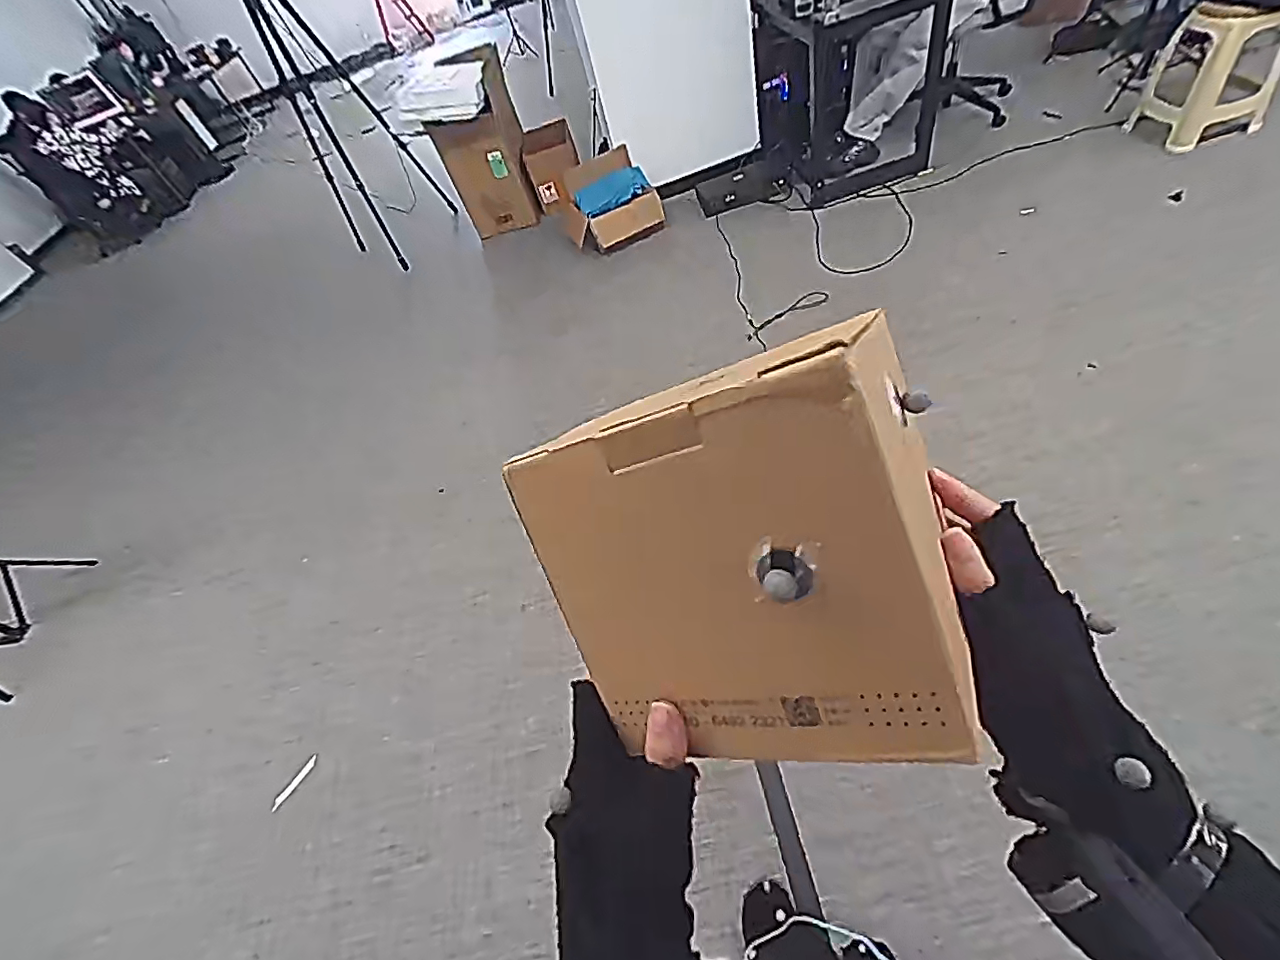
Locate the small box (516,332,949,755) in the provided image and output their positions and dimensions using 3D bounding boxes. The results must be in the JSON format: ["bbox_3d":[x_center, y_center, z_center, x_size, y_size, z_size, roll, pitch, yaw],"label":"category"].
[{"bbox_3d":[0.068,0.033,0.317,0.168,0.176,0.179,-16,10,33],"label":"small box"}]
